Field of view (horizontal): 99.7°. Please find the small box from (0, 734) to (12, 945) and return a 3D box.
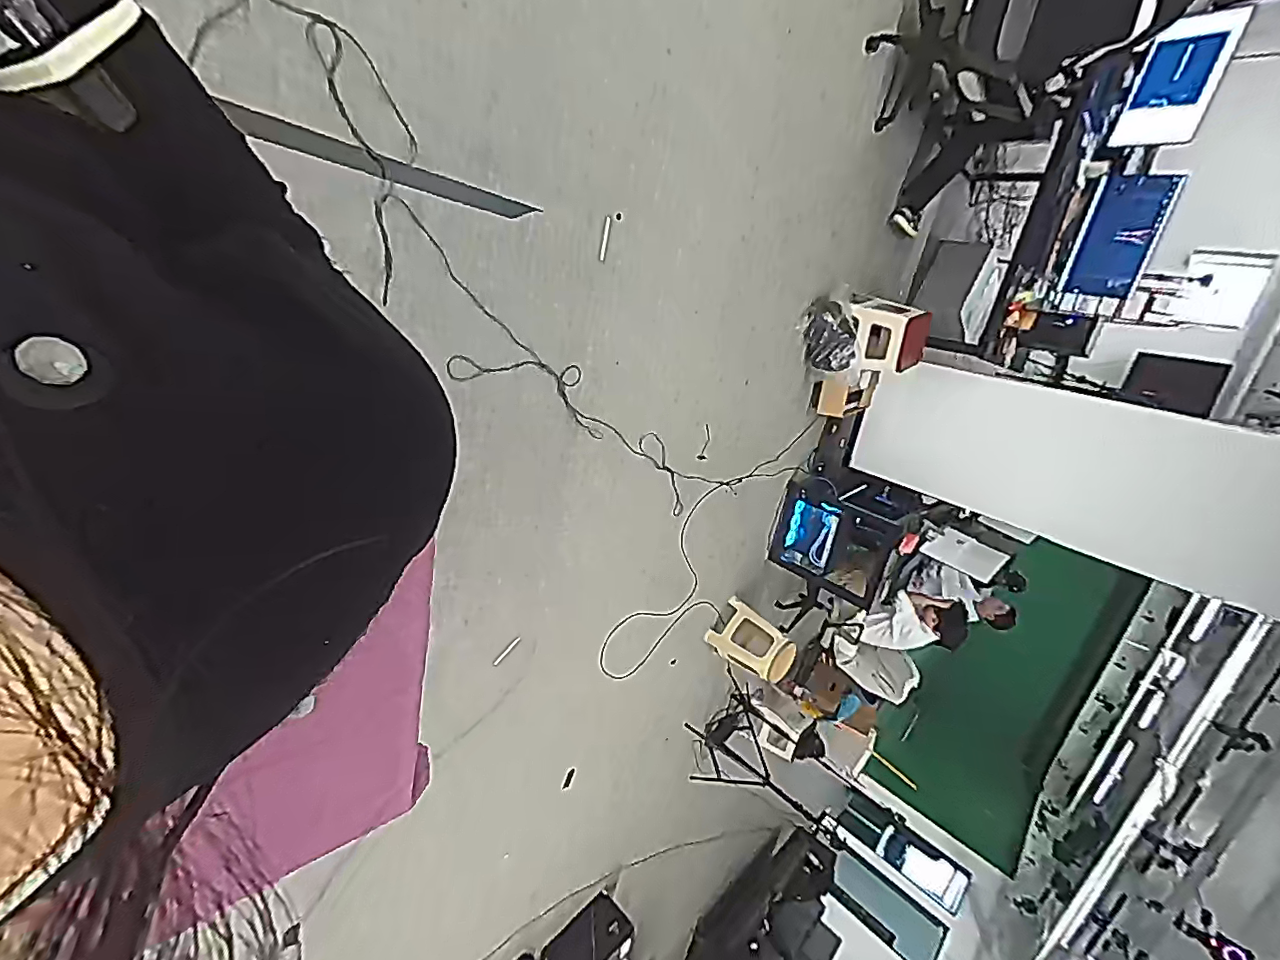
[{"bbox_3d":[-0.709,0.348,0.497,0.168,0.176,0.179,-6,114,-49],"label":"small box"}]
